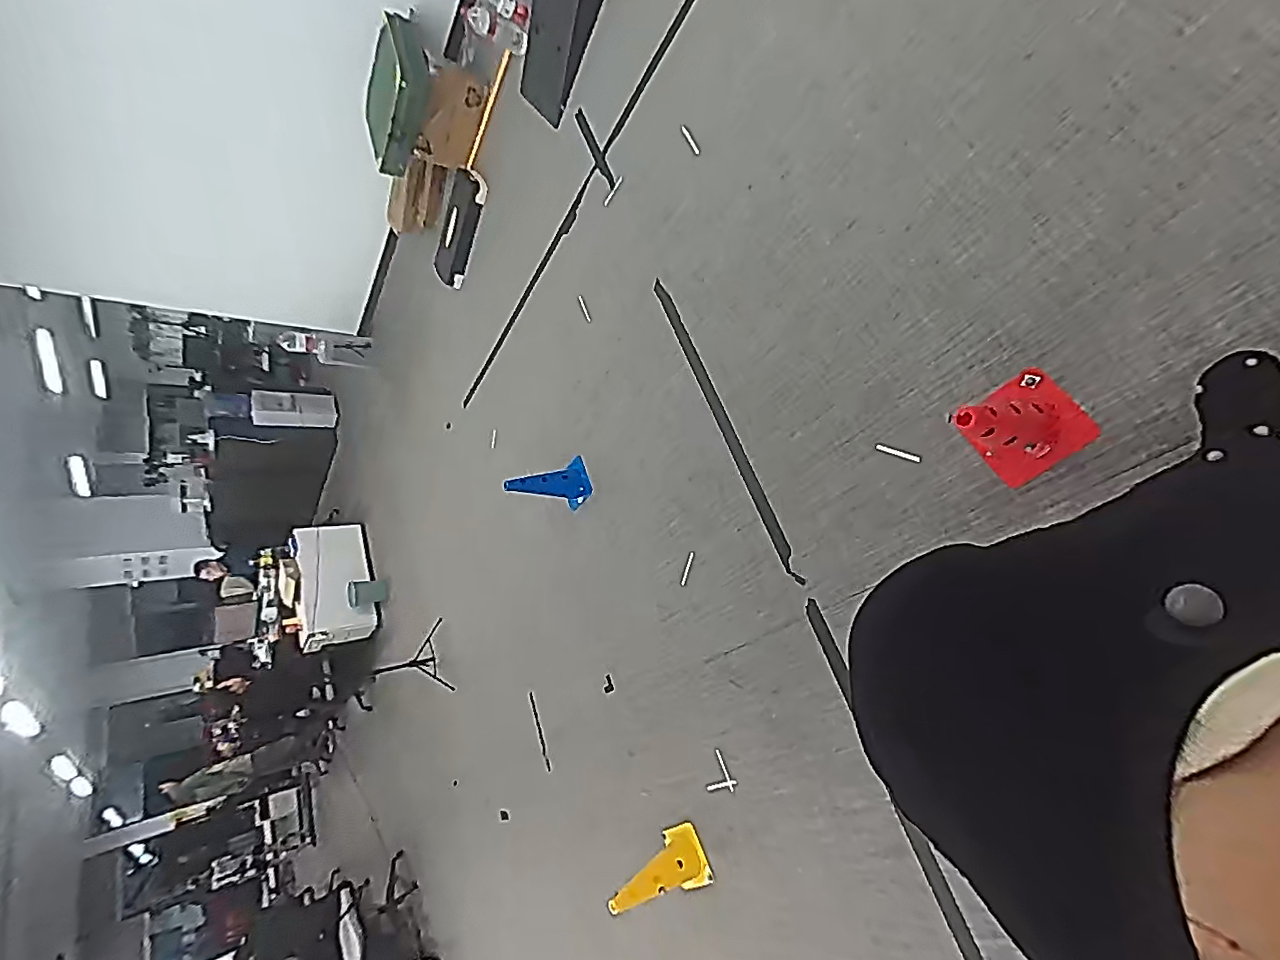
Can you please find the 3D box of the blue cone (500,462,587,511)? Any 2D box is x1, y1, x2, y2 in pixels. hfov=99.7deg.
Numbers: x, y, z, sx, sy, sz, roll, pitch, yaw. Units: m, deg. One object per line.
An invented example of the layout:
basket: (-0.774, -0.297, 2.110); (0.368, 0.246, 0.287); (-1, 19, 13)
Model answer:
blue cone: (-0.435, 0.032, 2.407); (0.192, 0.380, 0.193); (-42, 60, 43)

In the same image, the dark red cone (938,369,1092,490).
dark red cone: (0.679, -0.101, 1.050); (0.201, 0.394, 0.202); (-51, 55, 39)
